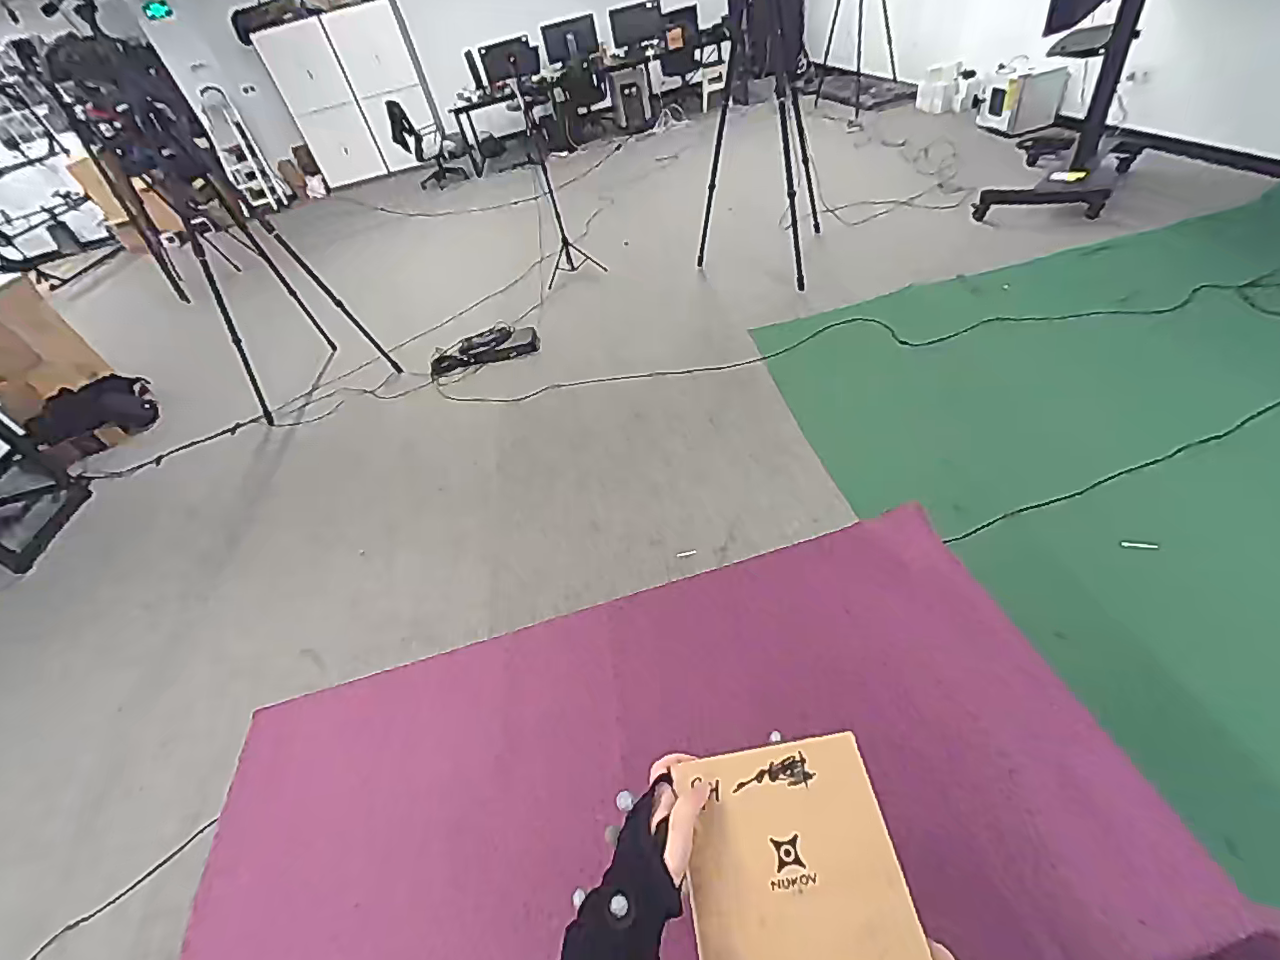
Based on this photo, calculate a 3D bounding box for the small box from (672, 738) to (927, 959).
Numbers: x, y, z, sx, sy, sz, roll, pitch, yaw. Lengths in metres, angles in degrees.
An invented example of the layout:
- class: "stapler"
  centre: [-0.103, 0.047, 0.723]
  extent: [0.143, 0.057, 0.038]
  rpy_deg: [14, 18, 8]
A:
- class: "small box"
  centre: [0.130, 0.352, 0.484]
  extent: [0.168, 0.176, 0.179]
  rpy_deg: [-11, 52, 3]
